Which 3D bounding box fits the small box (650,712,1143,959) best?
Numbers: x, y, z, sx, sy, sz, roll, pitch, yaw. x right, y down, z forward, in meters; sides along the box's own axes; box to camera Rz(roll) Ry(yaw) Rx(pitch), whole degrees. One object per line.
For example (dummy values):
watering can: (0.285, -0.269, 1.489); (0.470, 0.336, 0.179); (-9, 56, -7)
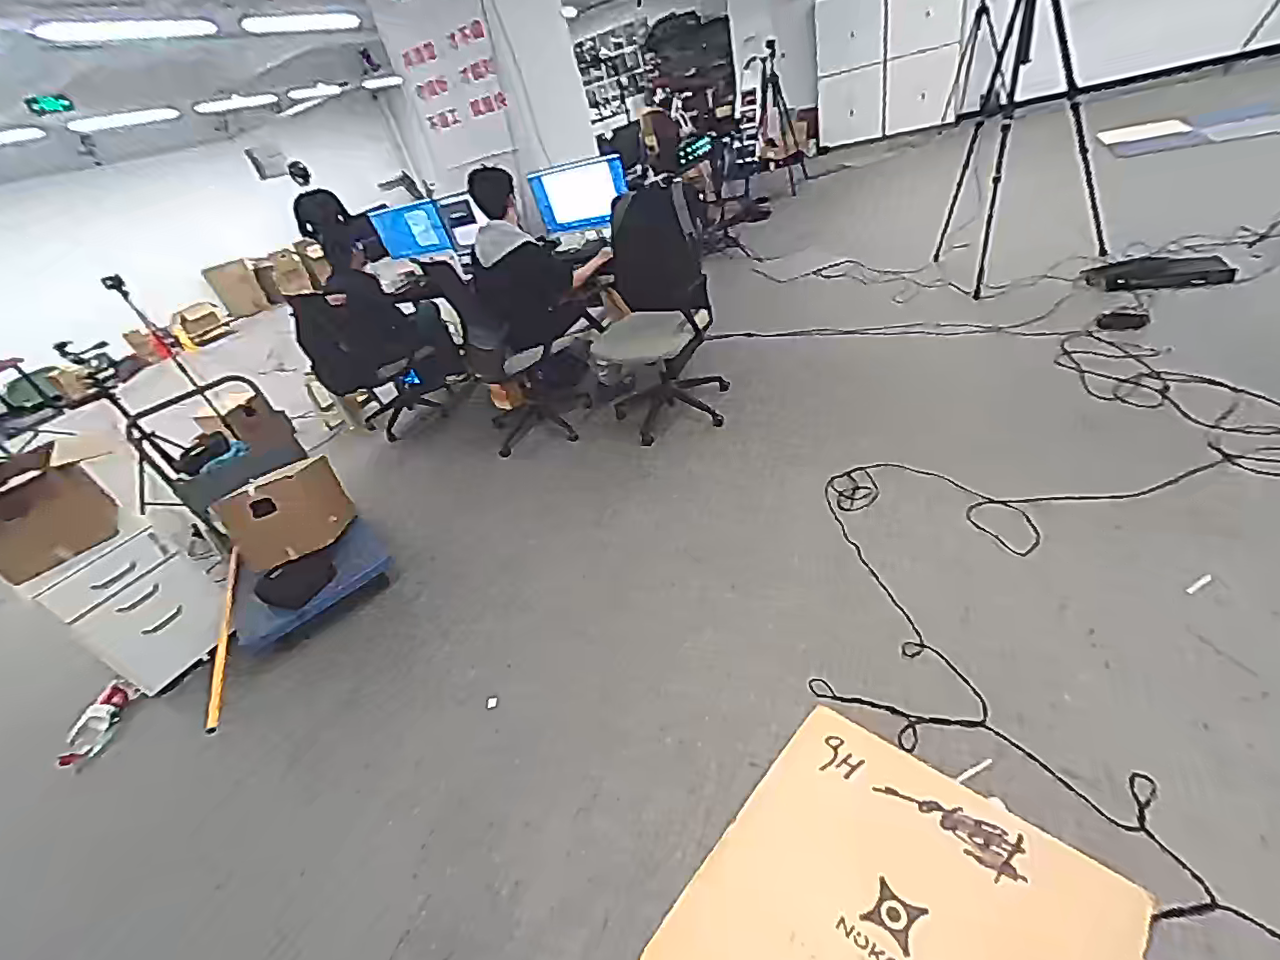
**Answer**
small box: (0.136, 0.282, 0.302); (0.168, 0.176, 0.179); (20, 47, 43)
